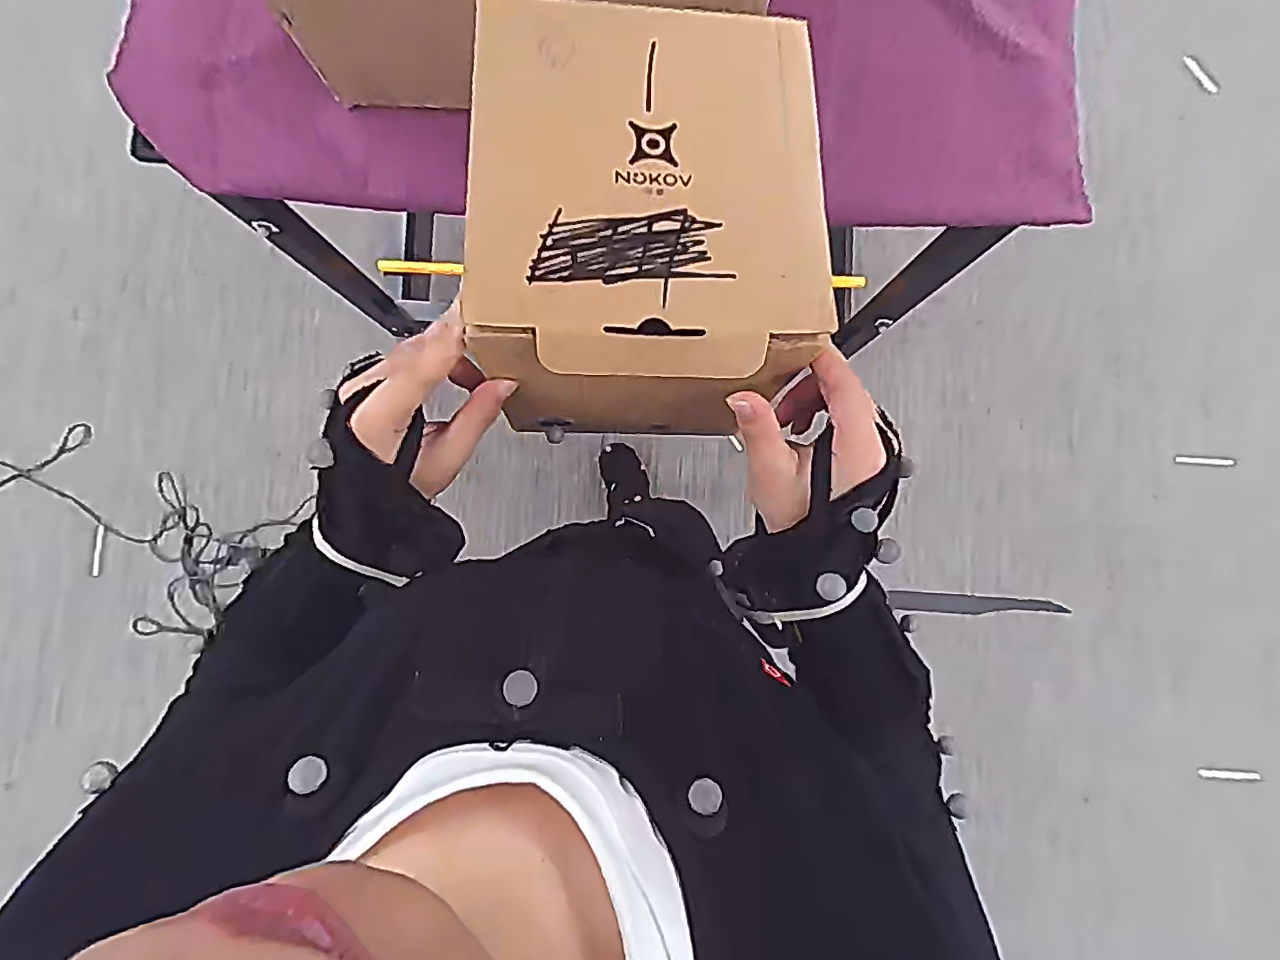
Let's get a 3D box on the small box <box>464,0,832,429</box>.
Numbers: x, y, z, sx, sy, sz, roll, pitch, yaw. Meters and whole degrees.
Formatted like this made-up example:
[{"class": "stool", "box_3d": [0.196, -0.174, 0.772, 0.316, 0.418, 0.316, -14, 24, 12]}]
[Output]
[{"class": "small box", "box_3d": [0.000, -0.134, 0.328, 0.168, 0.176, 0.179, 1, 79, -5]}]
